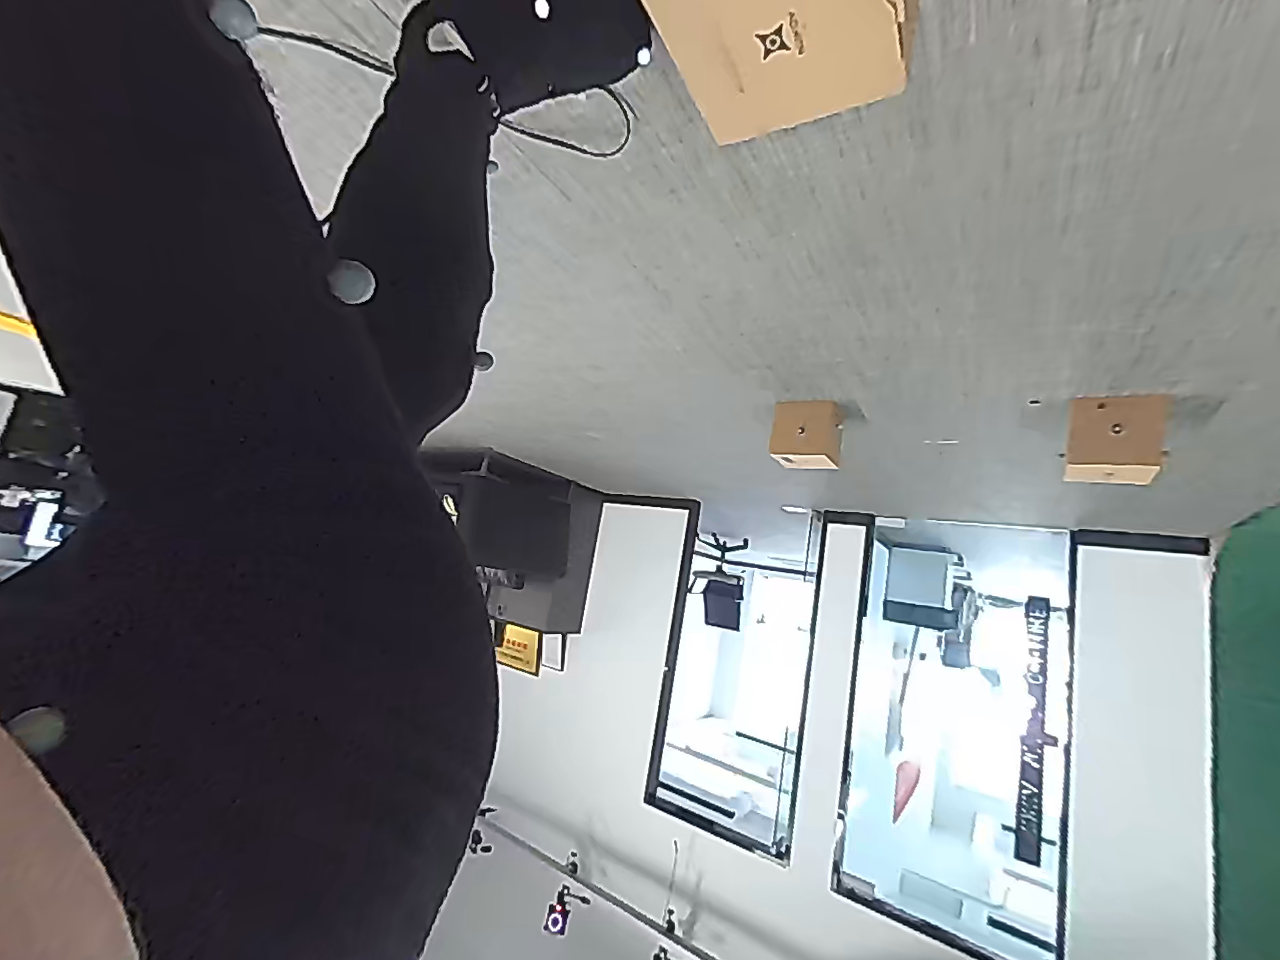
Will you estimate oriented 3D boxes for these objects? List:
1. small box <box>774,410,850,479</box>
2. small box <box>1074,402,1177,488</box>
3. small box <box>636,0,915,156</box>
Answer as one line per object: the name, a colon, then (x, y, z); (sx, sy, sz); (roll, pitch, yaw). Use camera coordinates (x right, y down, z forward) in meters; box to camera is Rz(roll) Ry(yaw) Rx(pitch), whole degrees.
small box: (0.534, -0.108, 1.666); (0.179, 0.176, 0.168); (1, 167, 35)
small box: (1.144, -0.082, 1.286); (0.168, 0.176, 0.179); (2, 167, 36)
small box: (0.119, -0.414, 0.434); (0.179, 0.176, 0.168); (2, 167, 33)
